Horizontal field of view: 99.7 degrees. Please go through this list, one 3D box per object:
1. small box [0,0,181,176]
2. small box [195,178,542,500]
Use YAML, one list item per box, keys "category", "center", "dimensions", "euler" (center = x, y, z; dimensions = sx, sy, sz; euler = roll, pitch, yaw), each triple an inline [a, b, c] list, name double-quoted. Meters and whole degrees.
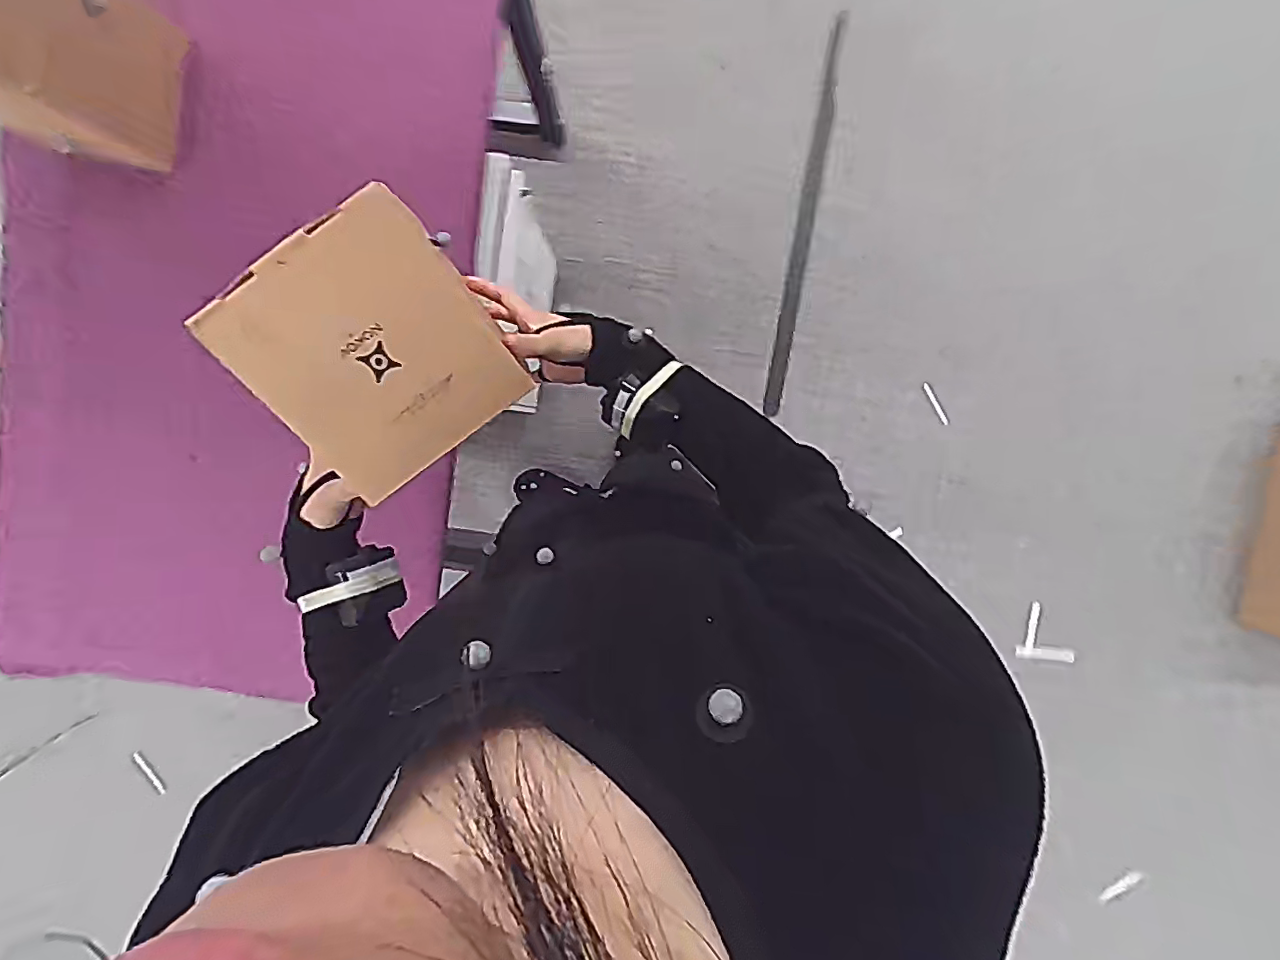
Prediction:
- category: "small box"
  center: [-0.681, -0.491, 0.623]
  dimensions: [0.168, 0.176, 0.179]
  euler: [11, 96, -2]
- category: "small box"
  center: [-0.207, -0.117, 0.467]
  dimensions: [0.168, 0.176, 0.179]
  euler: [-36, 114, 0]
